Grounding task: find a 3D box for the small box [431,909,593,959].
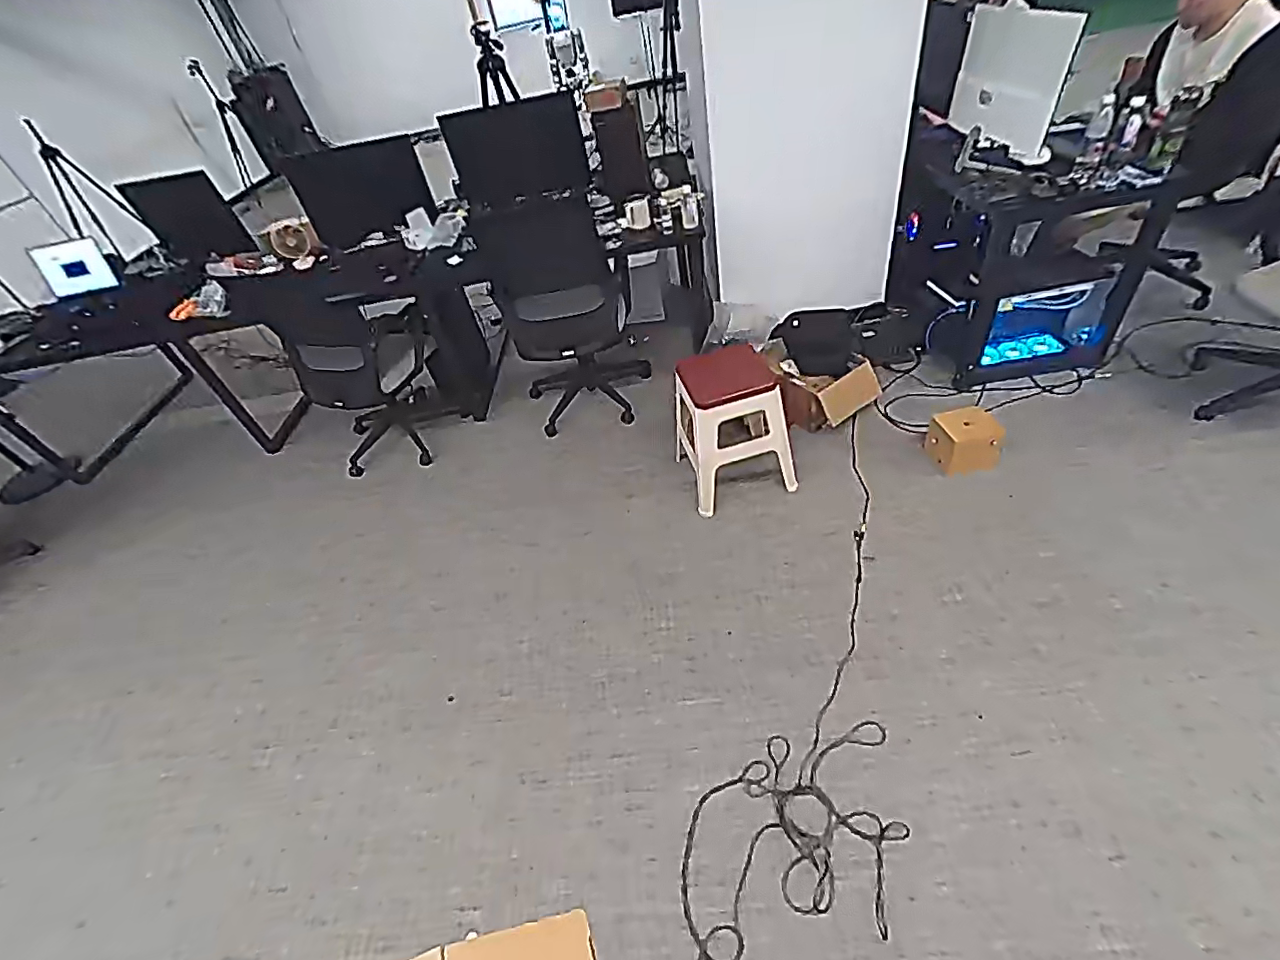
[{"bbox_3d":[-0.150,0.624,0.595,0.179,0.176,0.168,12,29,-30],"label":"small box"}]
